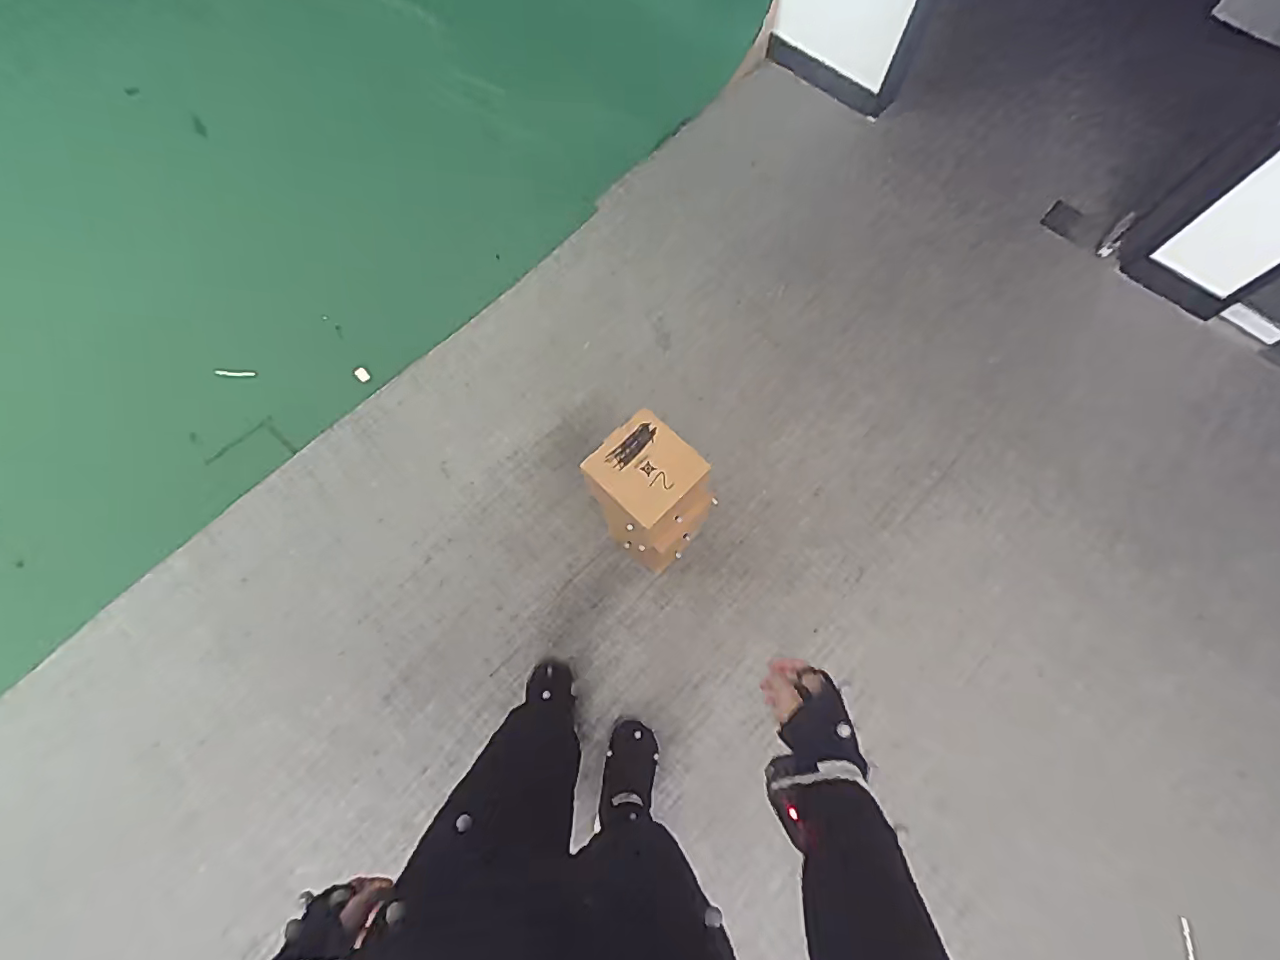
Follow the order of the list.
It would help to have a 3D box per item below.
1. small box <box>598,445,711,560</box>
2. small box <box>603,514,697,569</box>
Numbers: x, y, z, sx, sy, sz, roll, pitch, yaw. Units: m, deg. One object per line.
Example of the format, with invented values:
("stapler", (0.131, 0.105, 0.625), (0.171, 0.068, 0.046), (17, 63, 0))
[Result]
("small box", (0.032, 0.059, 1.185), (0.179, 0.176, 0.168), (41, 77, 13))
("small box", (0.032, 0.104, 1.343), (0.179, 0.176, 0.168), (40, 77, 13))
